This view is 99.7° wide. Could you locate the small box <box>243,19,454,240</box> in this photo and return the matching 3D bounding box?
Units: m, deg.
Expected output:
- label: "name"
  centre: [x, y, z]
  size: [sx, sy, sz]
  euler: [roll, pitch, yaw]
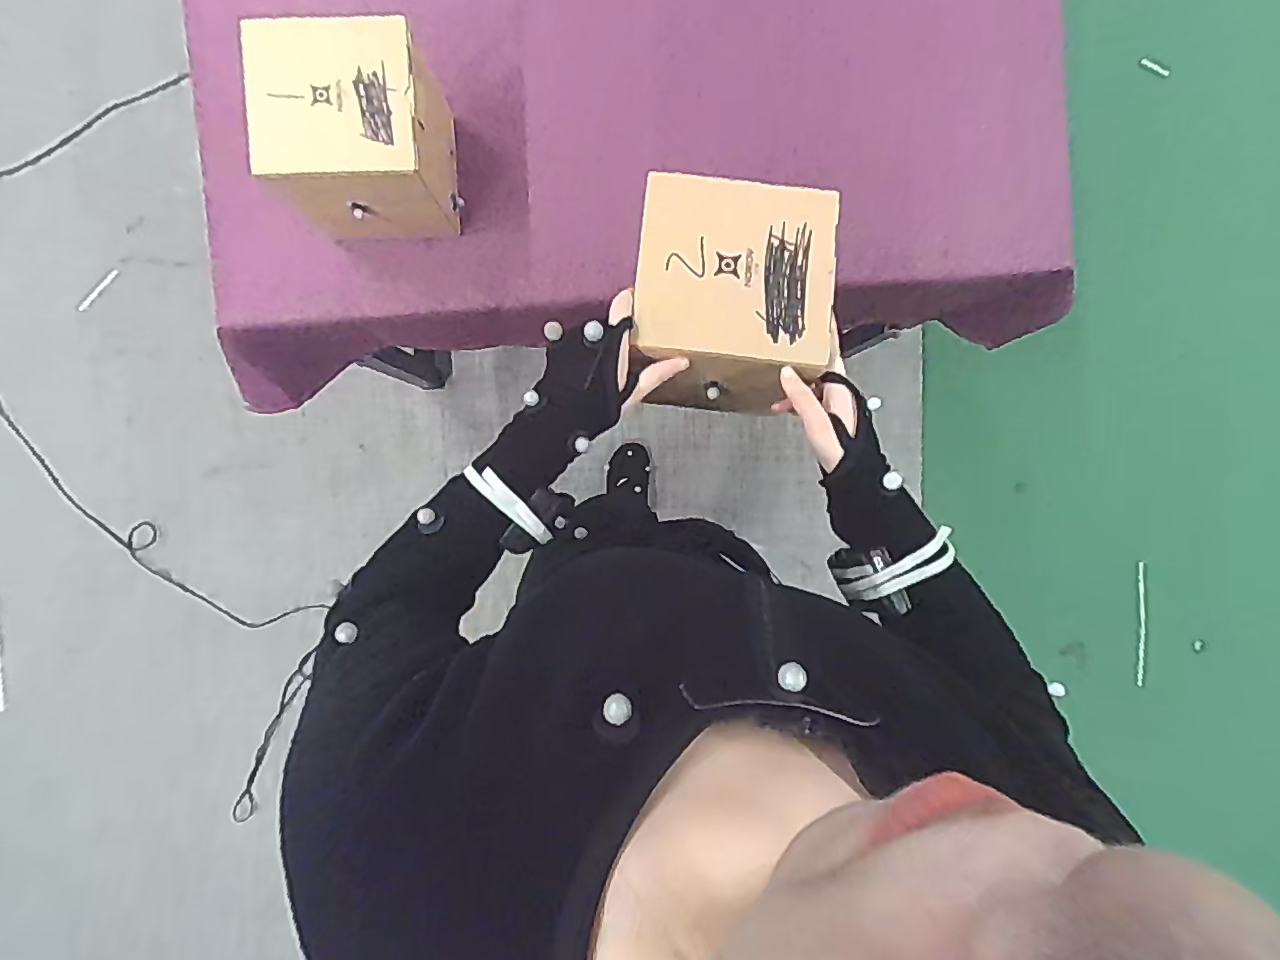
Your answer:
- label: "small box"
  centre: [-0.334, -0.407, 0.656]
  size: [0.179, 0.176, 0.168]
  euler: [-3, 91, -3]
